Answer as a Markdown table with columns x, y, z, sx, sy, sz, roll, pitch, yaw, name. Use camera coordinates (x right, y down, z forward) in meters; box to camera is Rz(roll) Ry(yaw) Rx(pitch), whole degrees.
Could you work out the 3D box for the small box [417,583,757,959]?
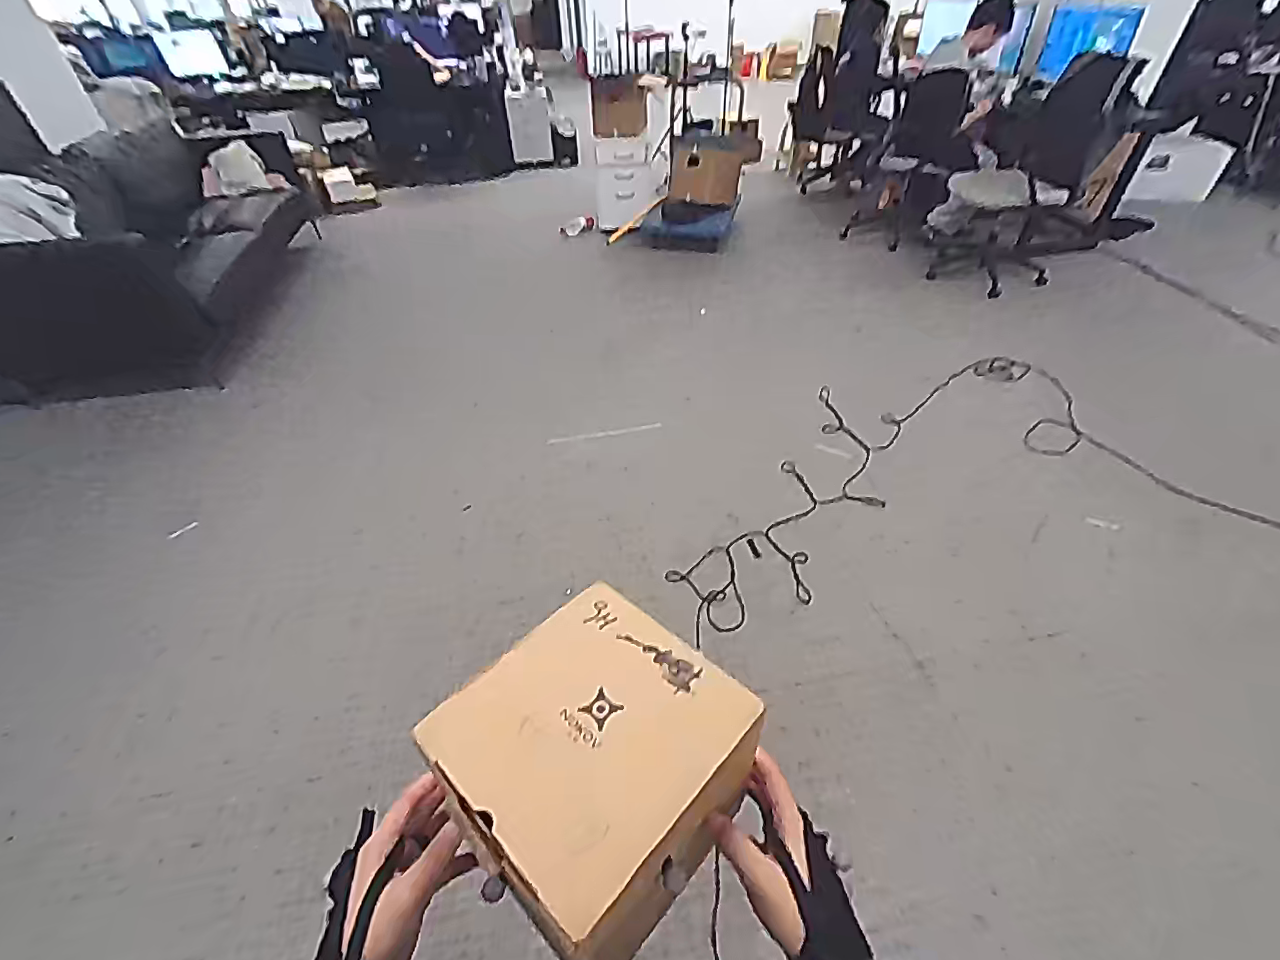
| x | y | z | sx | sy | sz | roll | pitch | yaw | name |
| --- | --- | --- | --- | --- | --- | --- | --- | --- | --- |
| -0.031 | 0.222 | 0.414 | 0.168 | 0.176 | 0.179 | 30 | 49 | 33 | small box |
